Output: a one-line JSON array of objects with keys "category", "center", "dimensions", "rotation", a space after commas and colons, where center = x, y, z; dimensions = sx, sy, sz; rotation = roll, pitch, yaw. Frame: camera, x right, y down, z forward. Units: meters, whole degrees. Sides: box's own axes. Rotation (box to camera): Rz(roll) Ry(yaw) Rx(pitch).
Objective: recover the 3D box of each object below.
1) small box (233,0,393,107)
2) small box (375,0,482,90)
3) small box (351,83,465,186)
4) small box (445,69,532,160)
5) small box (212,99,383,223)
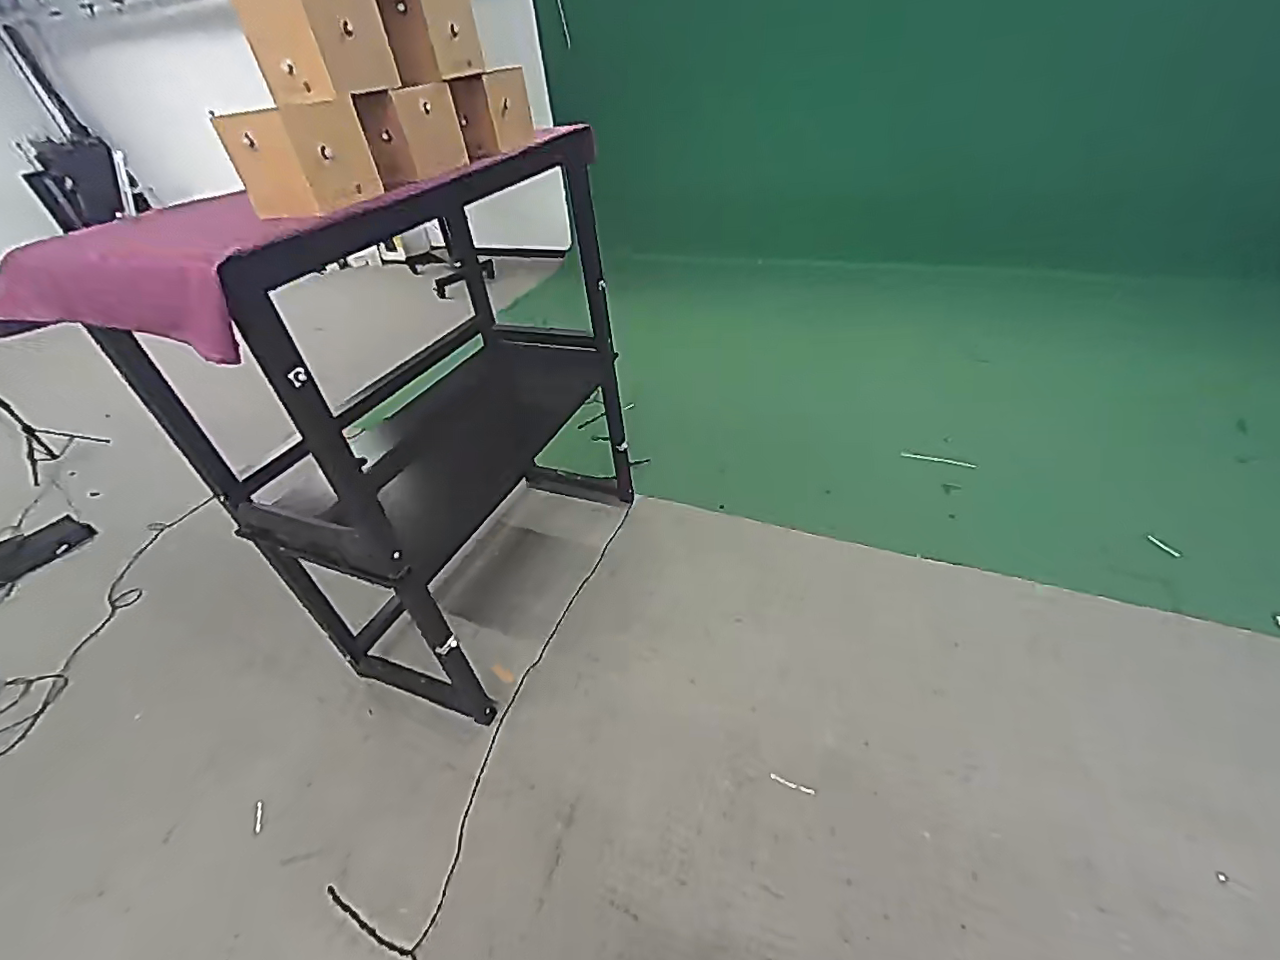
[{"category": "small box", "center": [-0.594, -0.807, 1.008], "dimensions": [0.168, 0.176, 0.179], "rotation": [10, 42, 21]}, {"category": "small box", "center": [-0.478, -0.974, 1.192], "dimensions": [0.179, 0.176, 0.168], "rotation": [10, 43, 21]}, {"category": "small box", "center": [-0.517, -0.759, 1.198], "dimensions": [0.168, 0.176, 0.179], "rotation": [11, 42, 23]}, {"category": "small box", "center": [-0.400, -0.938, 1.396], "dimensions": [0.168, 0.176, 0.179], "rotation": [11, 44, 21]}, {"category": "small box", "center": [-0.623, -0.591, 1.009], "dimensions": [0.179, 0.176, 0.168], "rotation": [9, 42, 22]}]
